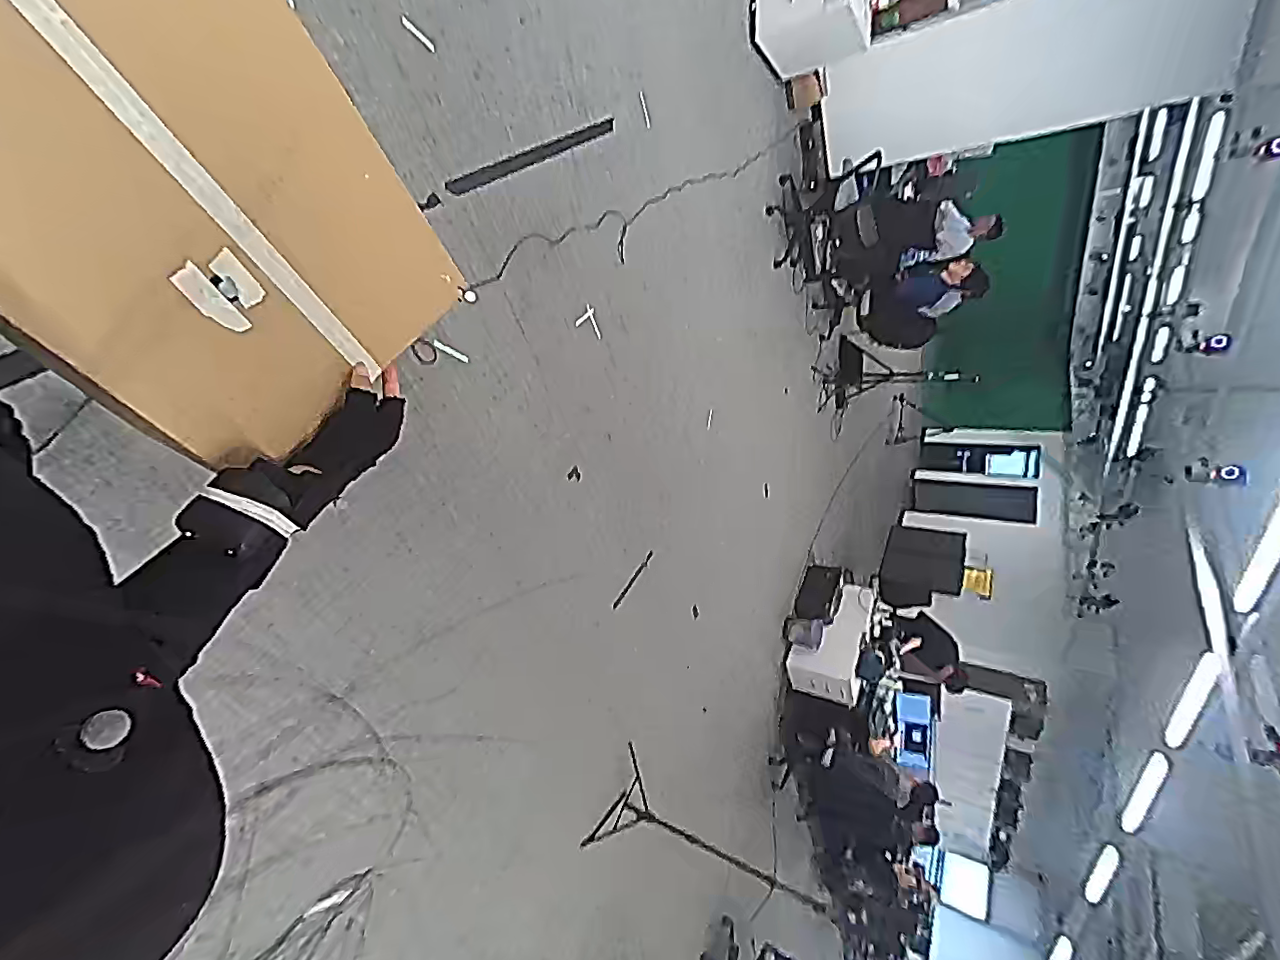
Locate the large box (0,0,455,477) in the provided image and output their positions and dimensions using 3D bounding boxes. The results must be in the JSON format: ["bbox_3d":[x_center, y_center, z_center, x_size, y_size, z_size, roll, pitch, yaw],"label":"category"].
[{"bbox_3d":[-0.474,-0.265,0.505,0.320,0.320,0.408,-57,143,-25],"label":"large box"}]
